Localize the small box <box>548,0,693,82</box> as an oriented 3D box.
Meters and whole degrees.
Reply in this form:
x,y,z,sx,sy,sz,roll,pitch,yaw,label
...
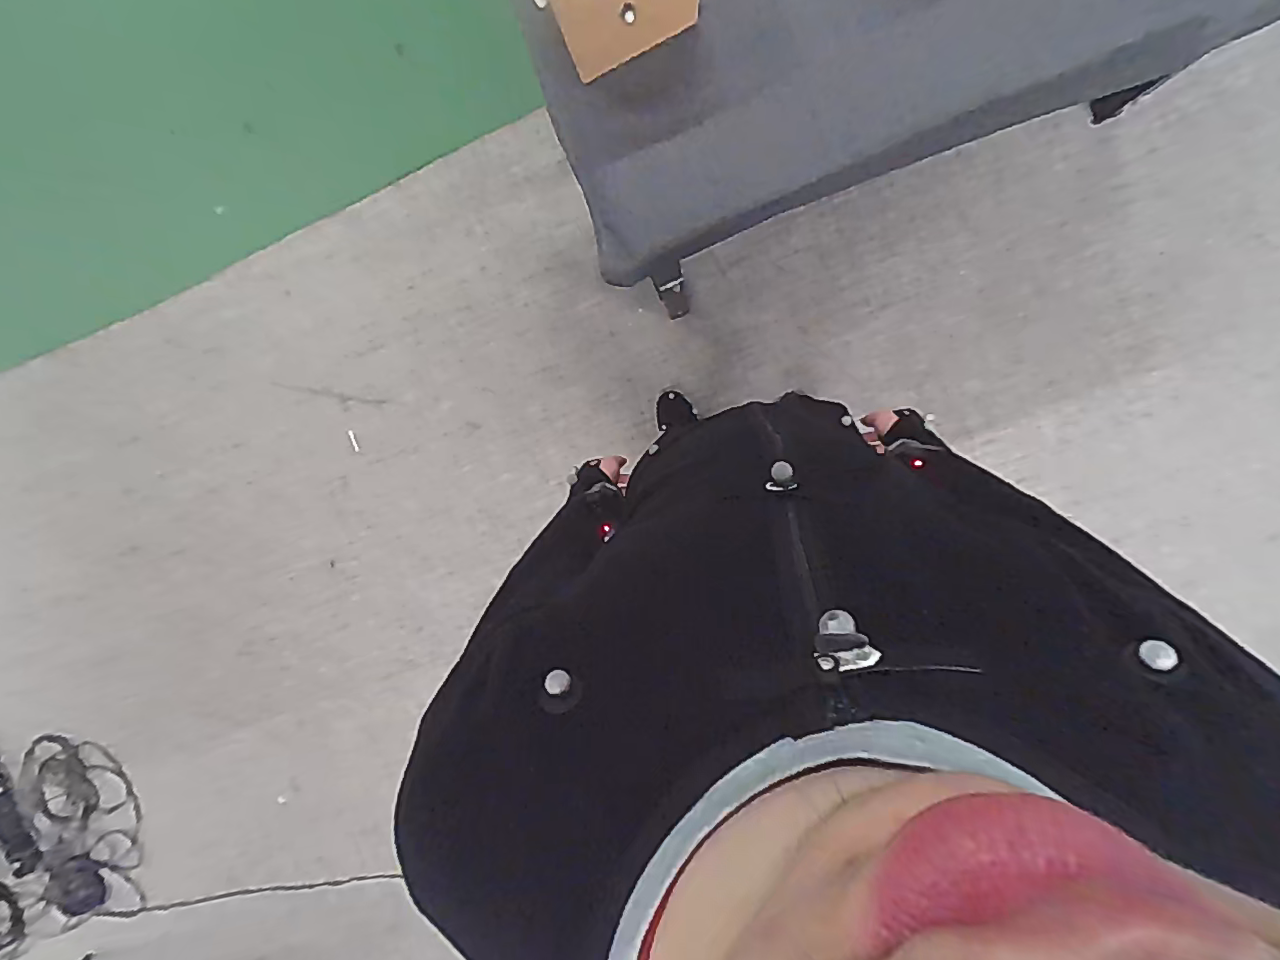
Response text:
x,y,z,sx,sy,sz,roll,pitch,yaw,label
-0.039,-0.644,0.657,0.179,0.176,0.168,-23,95,10,small box
